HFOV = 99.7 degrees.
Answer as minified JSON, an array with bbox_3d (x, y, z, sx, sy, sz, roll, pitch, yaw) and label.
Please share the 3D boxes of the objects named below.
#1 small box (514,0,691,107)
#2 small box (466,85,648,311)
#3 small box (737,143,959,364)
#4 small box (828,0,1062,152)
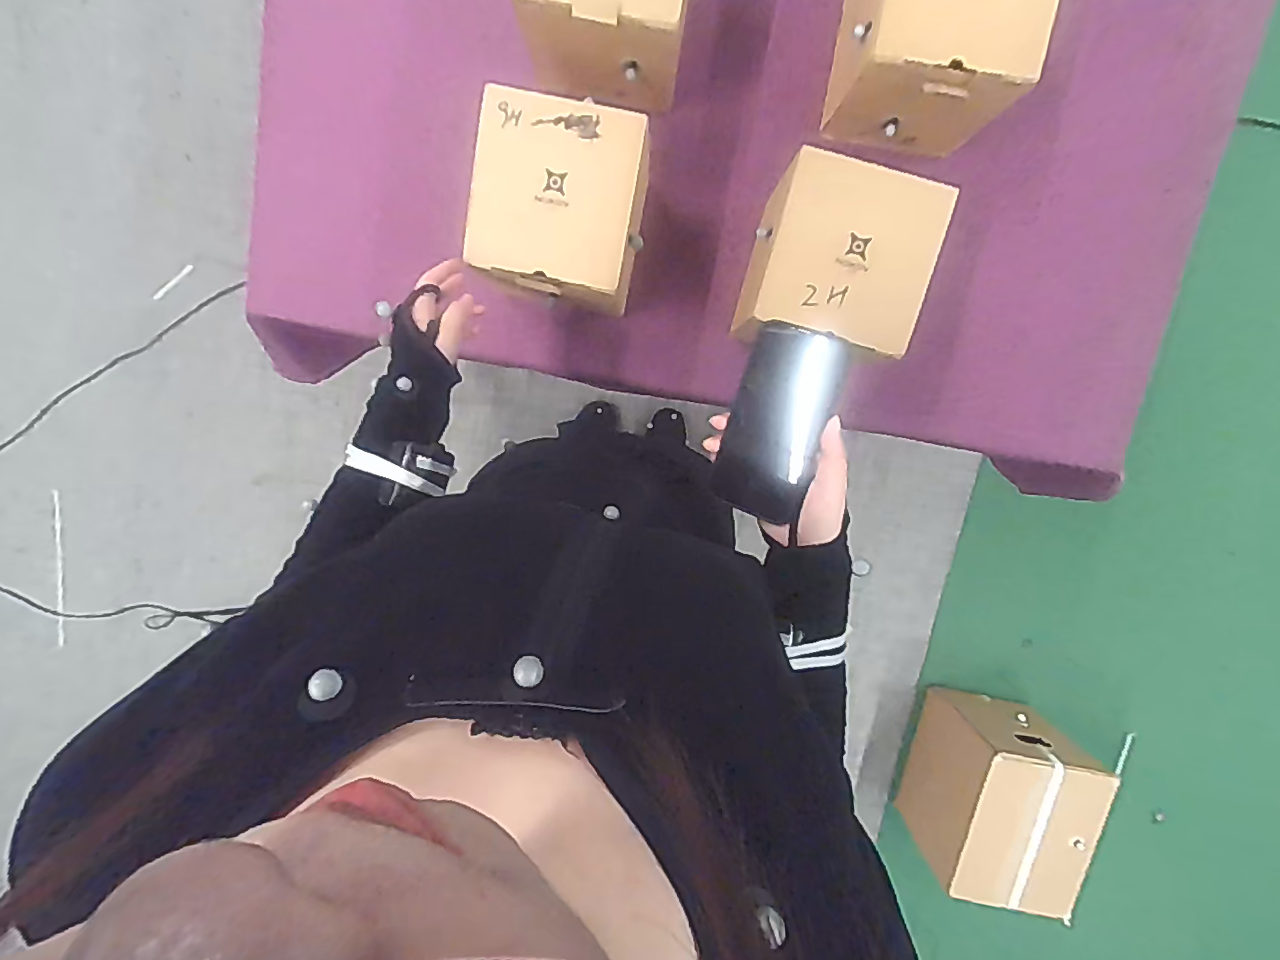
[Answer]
[{"bbox_3d":[-0.026,-0.545,0.584,0.168,0.176,0.179,10,100,-2],"label":"small box"},{"bbox_3d":[-0.084,-0.304,0.625,0.168,0.176,0.179,11,100,-1],"label":"small box"},{"bbox_3d":[0.221,-0.243,0.628,0.168,0.176,0.179,15,99,-1],"label":"small box"},{"bbox_3d":[0.320,-0.494,0.585,0.168,0.176,0.179,8,100,0],"label":"small box"}]
